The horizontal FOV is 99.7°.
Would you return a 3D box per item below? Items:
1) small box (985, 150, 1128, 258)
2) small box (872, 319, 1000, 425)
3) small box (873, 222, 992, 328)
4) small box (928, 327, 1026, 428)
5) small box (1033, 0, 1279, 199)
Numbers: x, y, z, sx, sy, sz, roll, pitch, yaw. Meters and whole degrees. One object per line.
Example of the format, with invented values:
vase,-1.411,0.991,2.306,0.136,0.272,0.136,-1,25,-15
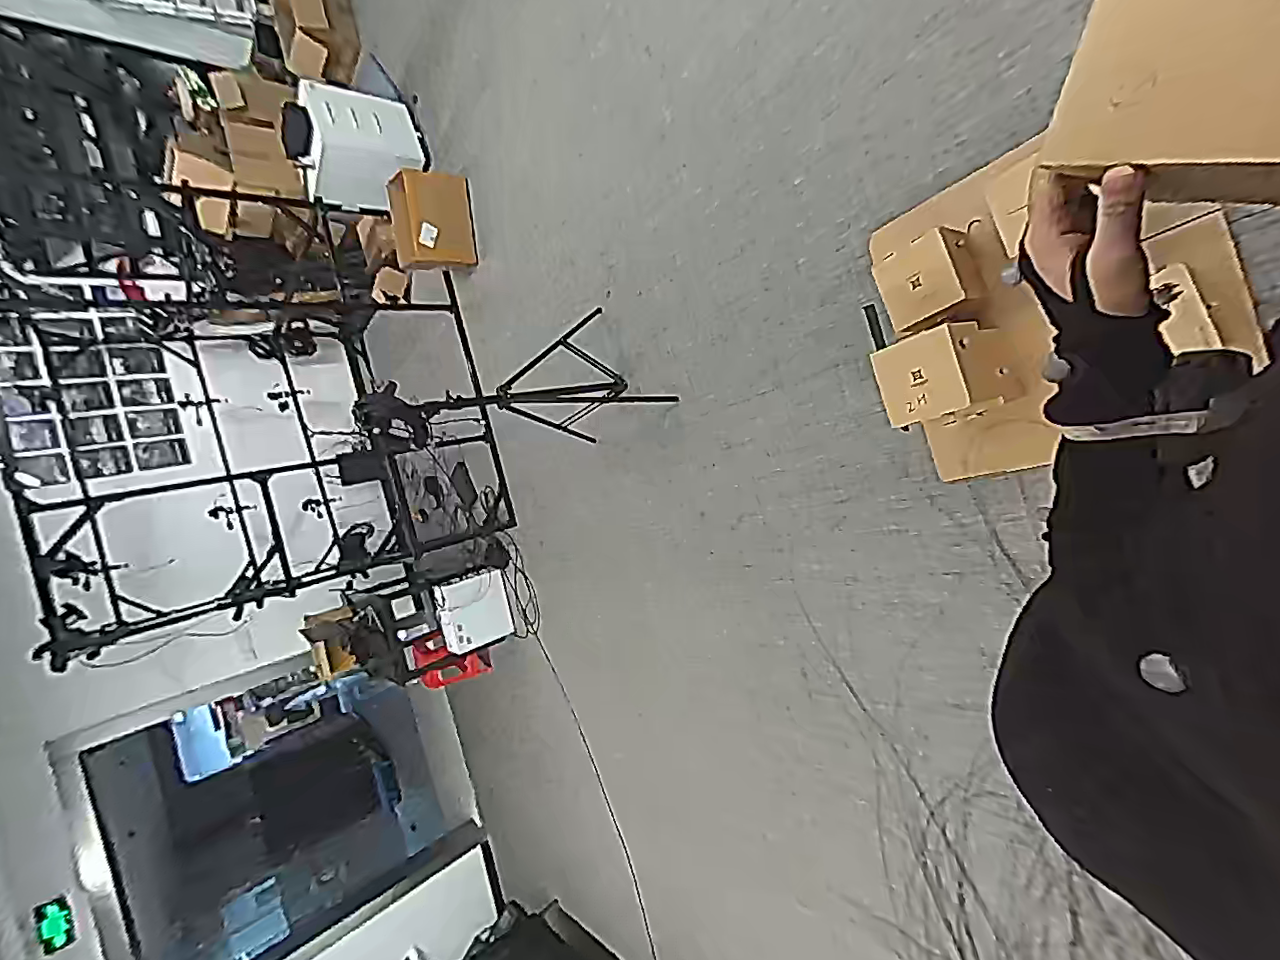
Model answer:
small box,0.833,-0.566,1.077,0.179,0.176,0.168,-23,84,51
small box,0.635,-0.230,1.158,0.168,0.176,0.179,-19,88,52
small box,0.692,-0.475,1.277,0.168,0.176,0.179,-25,83,51
small box,0.764,-0.241,1.262,0.168,0.176,0.179,-24,84,50
small box,0.343,-0.228,0.248,0.179,0.176,0.168,39,131,47
